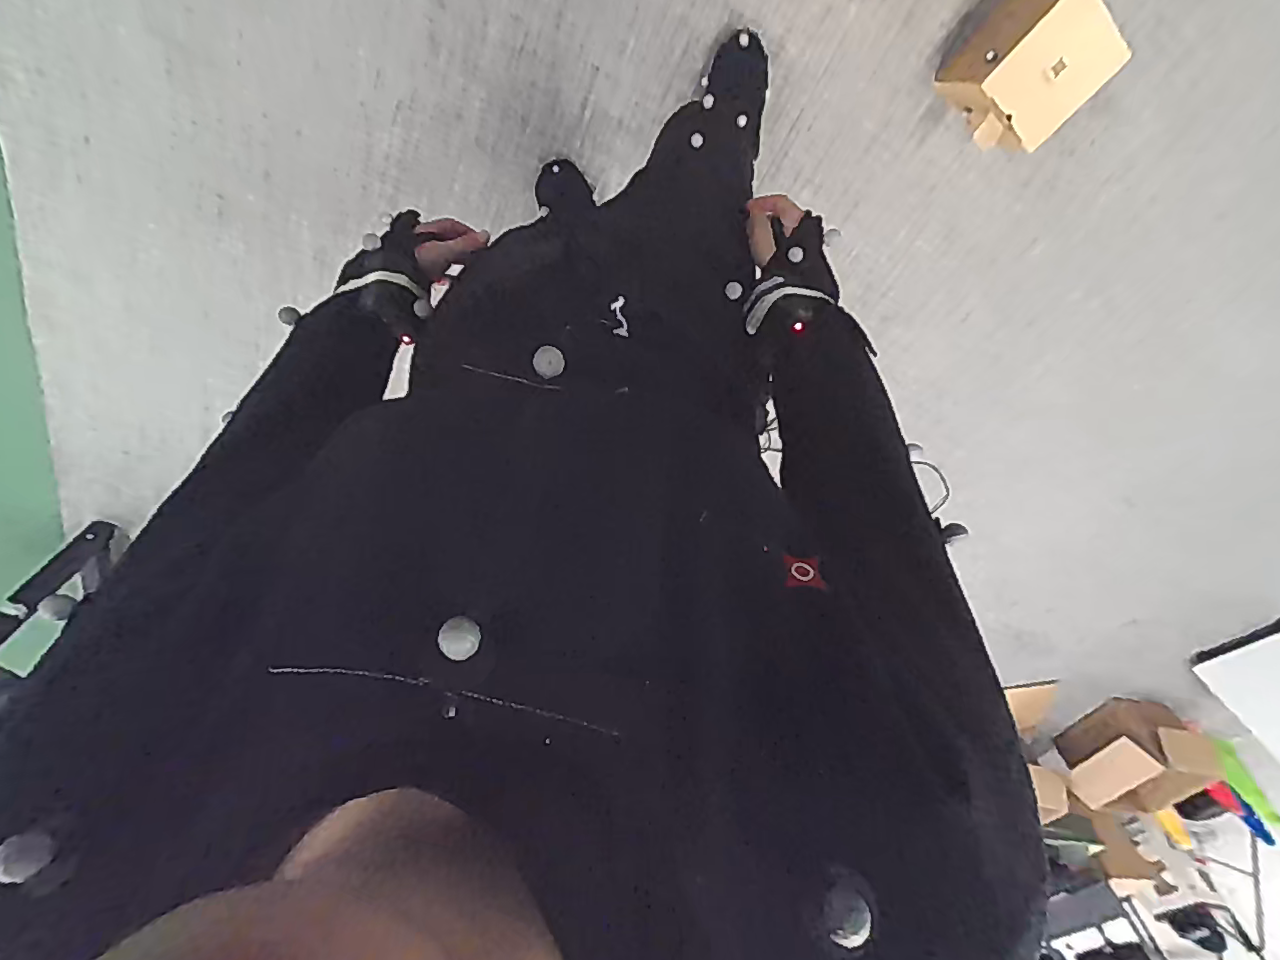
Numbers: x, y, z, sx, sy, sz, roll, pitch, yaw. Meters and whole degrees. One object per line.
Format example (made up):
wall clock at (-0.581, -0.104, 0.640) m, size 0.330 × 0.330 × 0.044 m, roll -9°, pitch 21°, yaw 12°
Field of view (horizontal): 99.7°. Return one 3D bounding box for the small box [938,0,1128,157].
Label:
small box at (0.665, -0.706, 0.935) m, size 0.168 × 0.176 × 0.179 m, roll 31°, pitch 121°, yaw -24°
